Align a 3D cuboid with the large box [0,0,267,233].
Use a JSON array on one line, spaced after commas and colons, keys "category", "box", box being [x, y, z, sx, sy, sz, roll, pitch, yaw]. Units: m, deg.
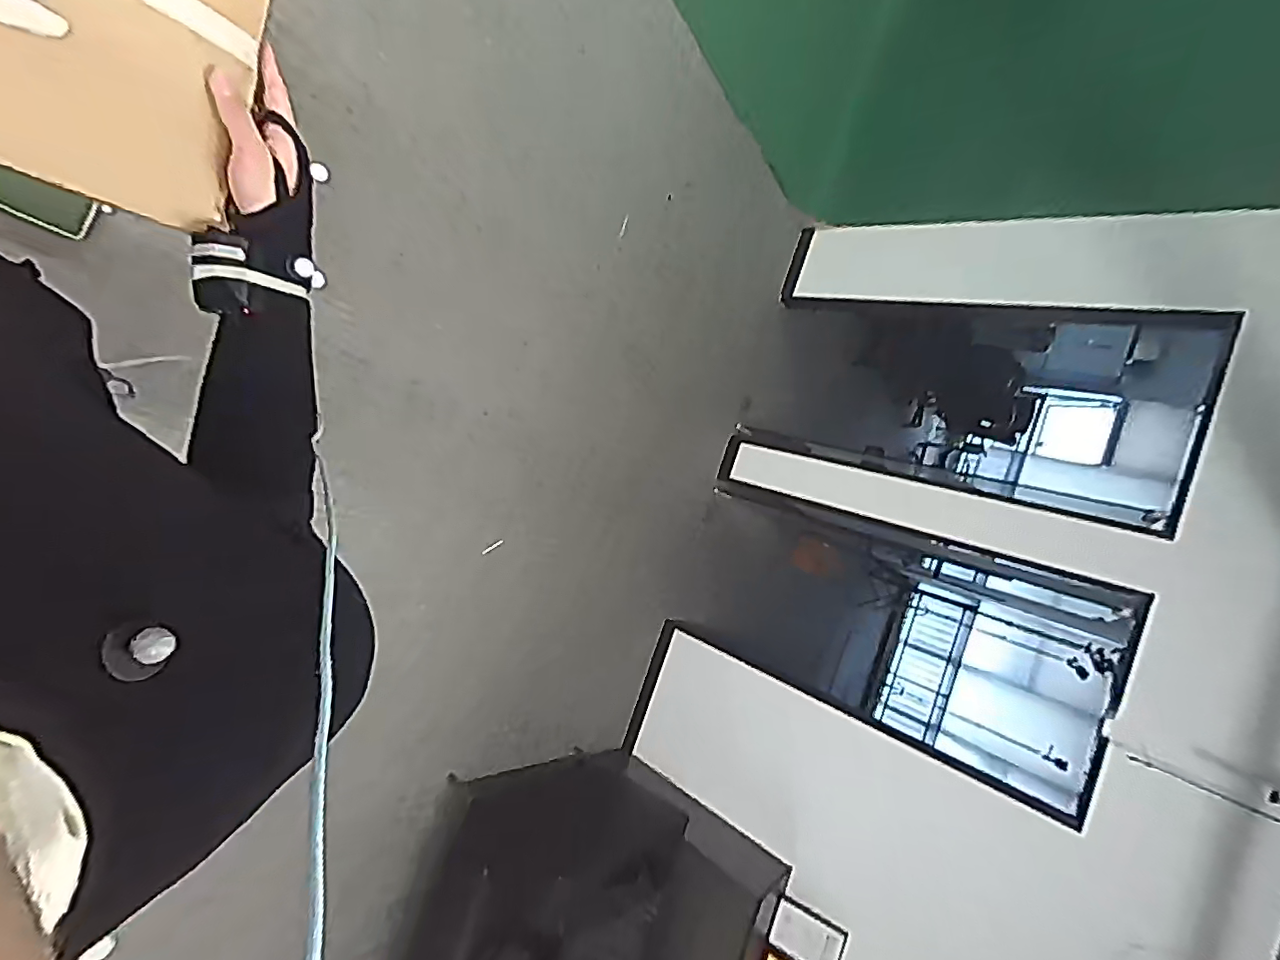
[{"category": "large box", "box": [-0.559, -0.425, 0.386, 0.408, 0.320, 0.320, 8, 105, -54]}]
